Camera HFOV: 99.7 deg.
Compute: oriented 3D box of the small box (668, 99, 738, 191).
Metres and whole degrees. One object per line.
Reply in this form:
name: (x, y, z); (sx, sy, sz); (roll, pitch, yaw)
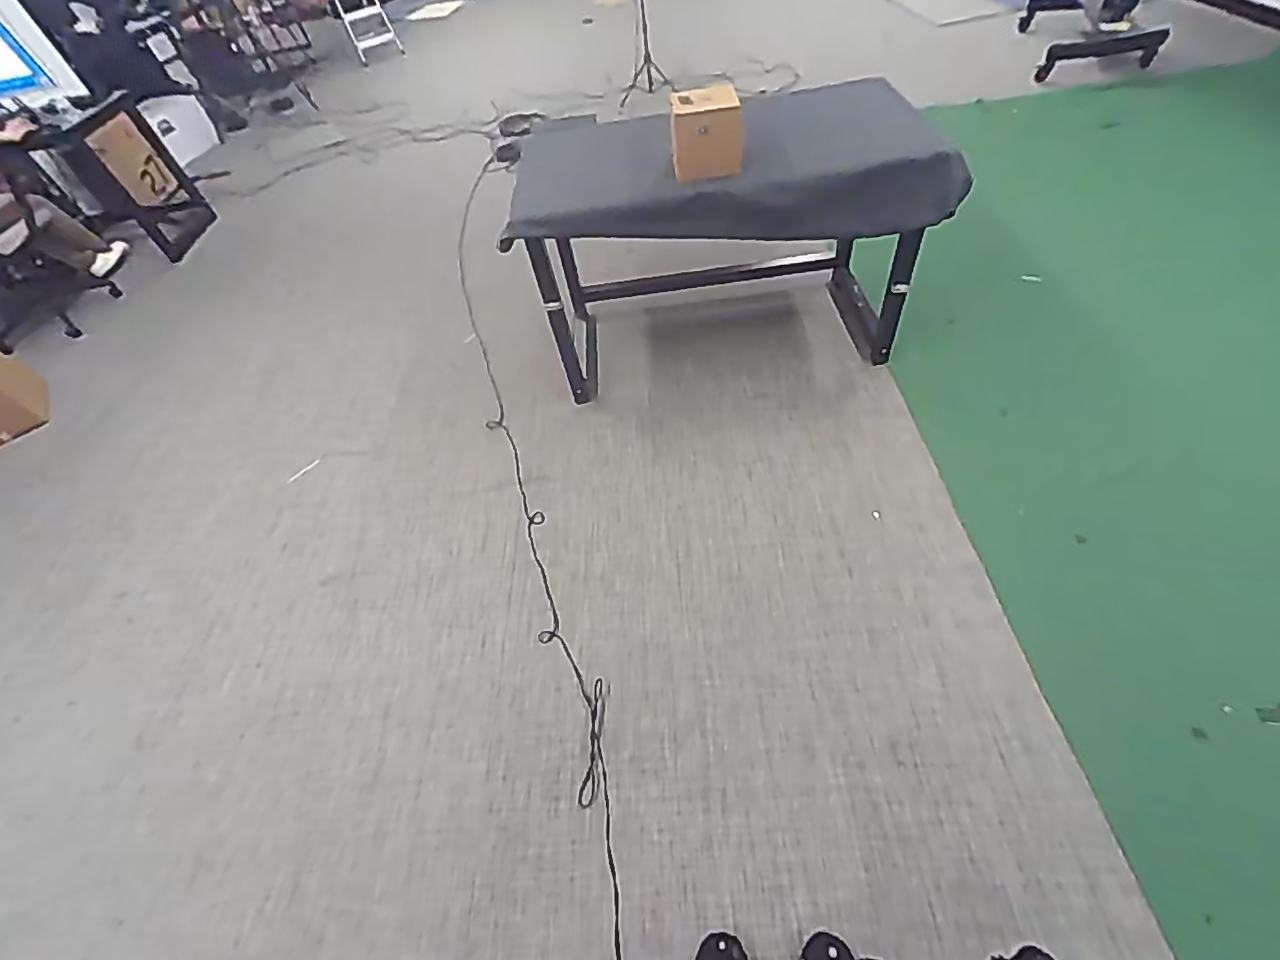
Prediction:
small box: (0.177, -0.933, 1.516); (0.179, 0.176, 0.168); (-6, 52, 4)
